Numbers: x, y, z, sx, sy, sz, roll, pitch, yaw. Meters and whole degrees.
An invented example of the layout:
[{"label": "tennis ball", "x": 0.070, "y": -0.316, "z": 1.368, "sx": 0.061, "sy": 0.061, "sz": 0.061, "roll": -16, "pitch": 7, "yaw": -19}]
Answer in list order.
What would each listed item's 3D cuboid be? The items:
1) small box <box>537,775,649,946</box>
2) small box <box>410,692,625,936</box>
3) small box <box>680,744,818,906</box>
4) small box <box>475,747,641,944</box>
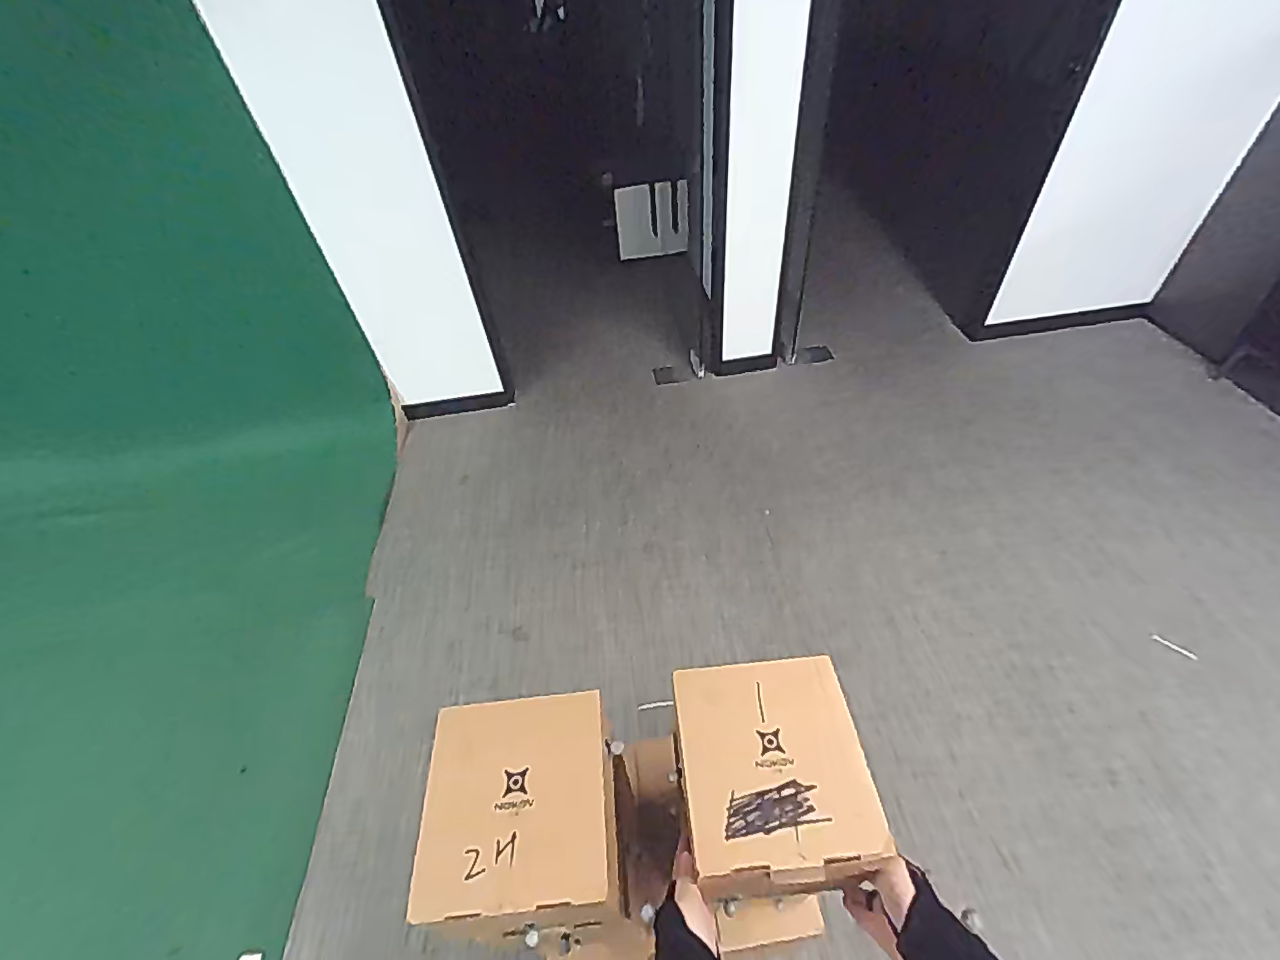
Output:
[{"label": "small box", "x": -0.079, "y": 0.562, "z": 0.797, "sx": 0.168, "sy": 0.176, "sz": 0.179, "roll": -7, "pitch": 48, "yaw": -1}, {"label": "small box", "x": -0.108, "y": 0.342, "z": 0.553, "sx": 0.168, "sy": 0.176, "sz": 0.179, "roll": -7, "pitch": 48, "yaw": 0}, {"label": "small box", "x": 0.154, "y": 0.518, "z": 0.807, "sx": 0.168, "sy": 0.176, "sz": 0.179, "roll": -6, "pitch": 46, "yaw": 2}, {"label": "small box", "x": -0.091, "y": 0.455, "z": 0.673, "sx": 0.168, "sy": 0.176, "sz": 0.179, "roll": -6, "pitch": 48, "yaw": 0}]
